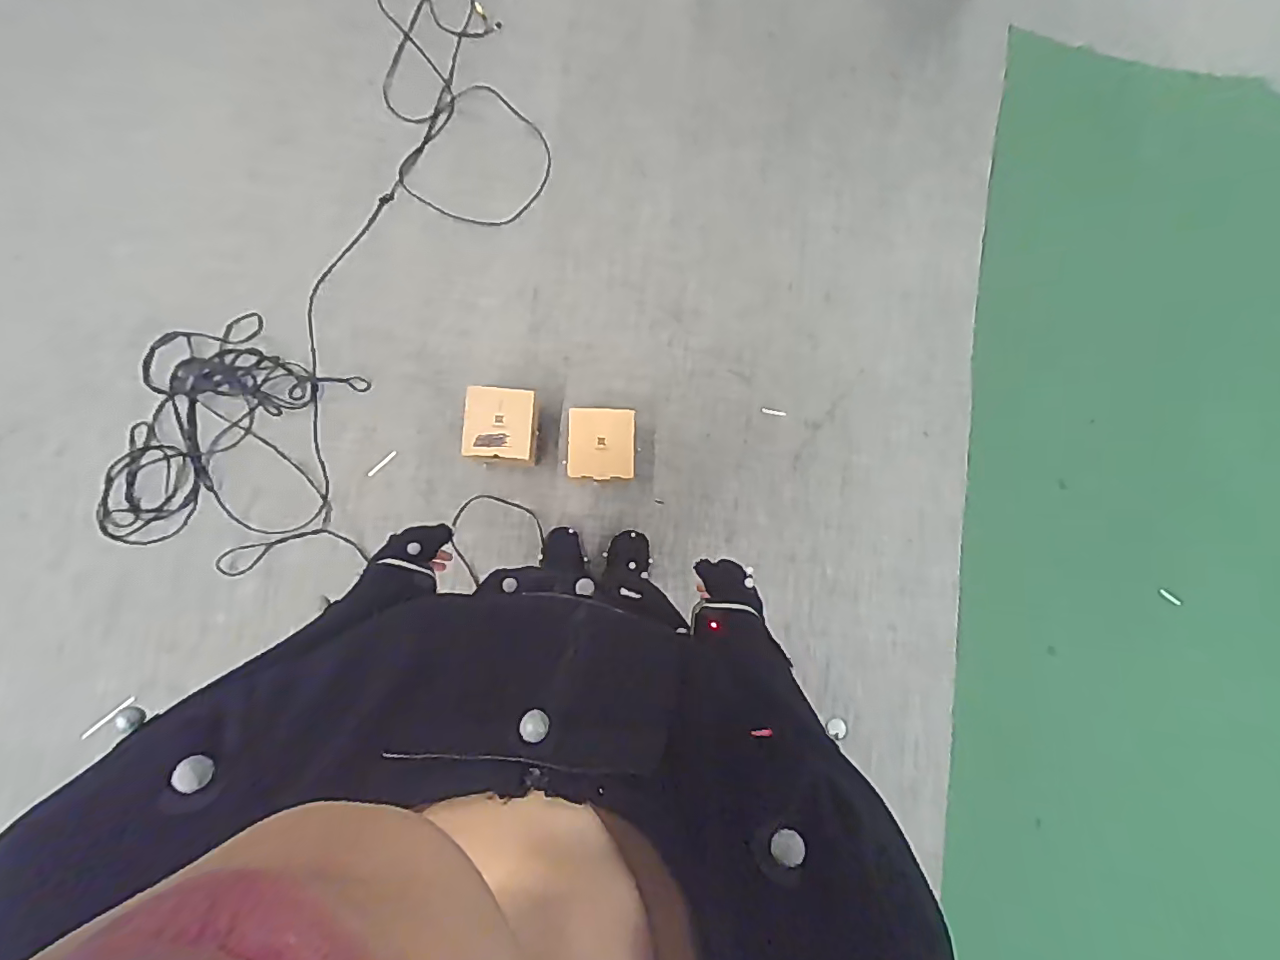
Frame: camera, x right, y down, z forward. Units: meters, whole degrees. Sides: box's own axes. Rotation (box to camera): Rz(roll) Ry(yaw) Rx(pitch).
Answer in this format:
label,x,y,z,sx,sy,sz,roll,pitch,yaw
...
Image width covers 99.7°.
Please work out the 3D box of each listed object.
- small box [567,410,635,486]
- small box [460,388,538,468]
label,x,y,z,sx,sy,sz,roll,pitch,yaw
small box,-0.106,-0.079,1.420,0.168,0.176,0.179,1,87,-6
small box,-0.355,-0.126,1.394,0.168,0.176,0.179,4,85,-6
